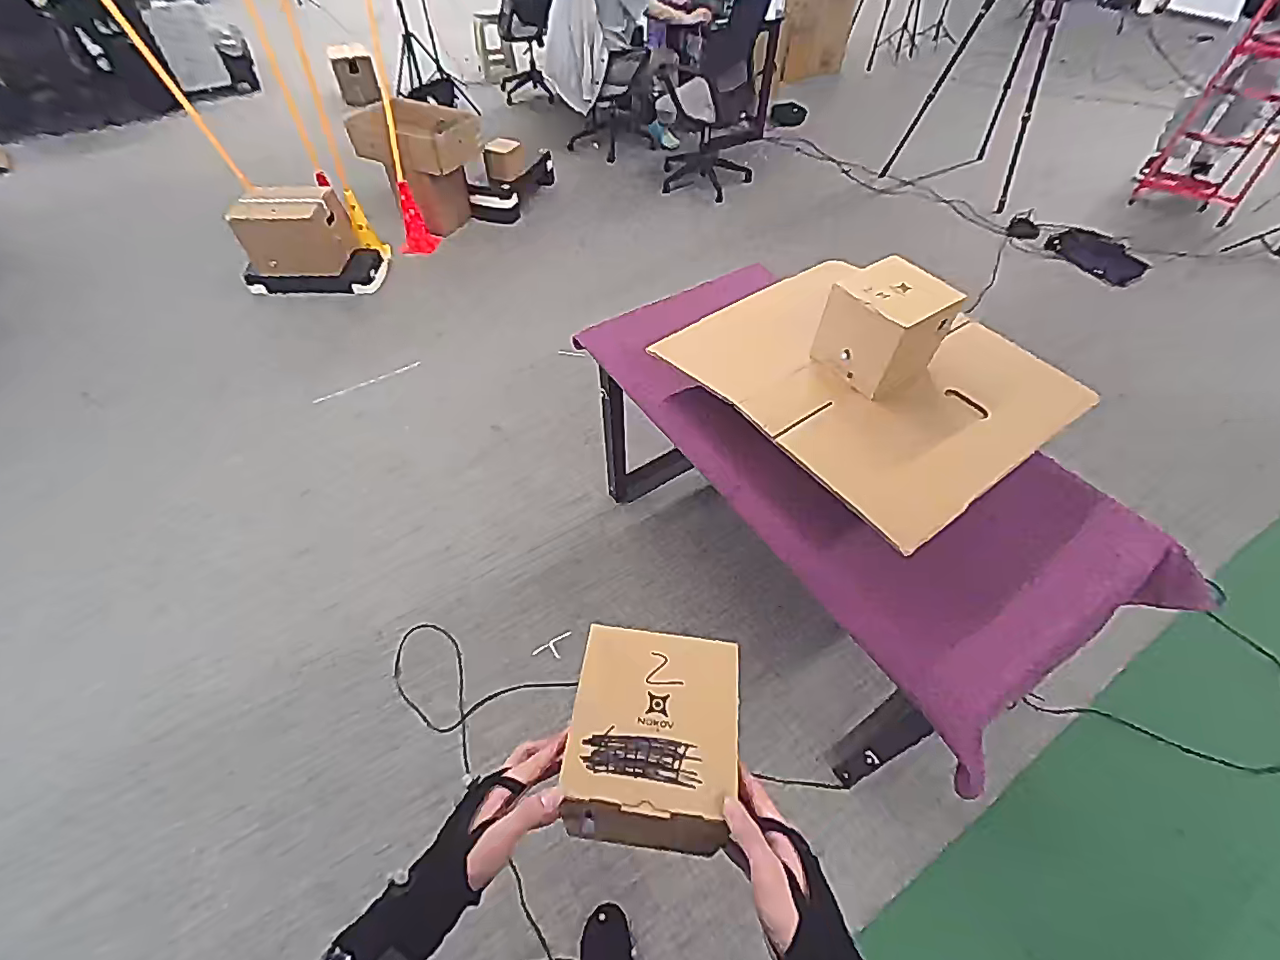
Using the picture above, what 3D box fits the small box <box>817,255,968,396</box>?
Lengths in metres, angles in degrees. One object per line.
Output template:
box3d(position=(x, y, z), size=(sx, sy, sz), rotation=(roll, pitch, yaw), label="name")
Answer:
box3d(position=(0.469, -0.294, 1.034), size=(0.179, 0.176, 0.168), rotation=(-28, 58, -20), label="small box")
